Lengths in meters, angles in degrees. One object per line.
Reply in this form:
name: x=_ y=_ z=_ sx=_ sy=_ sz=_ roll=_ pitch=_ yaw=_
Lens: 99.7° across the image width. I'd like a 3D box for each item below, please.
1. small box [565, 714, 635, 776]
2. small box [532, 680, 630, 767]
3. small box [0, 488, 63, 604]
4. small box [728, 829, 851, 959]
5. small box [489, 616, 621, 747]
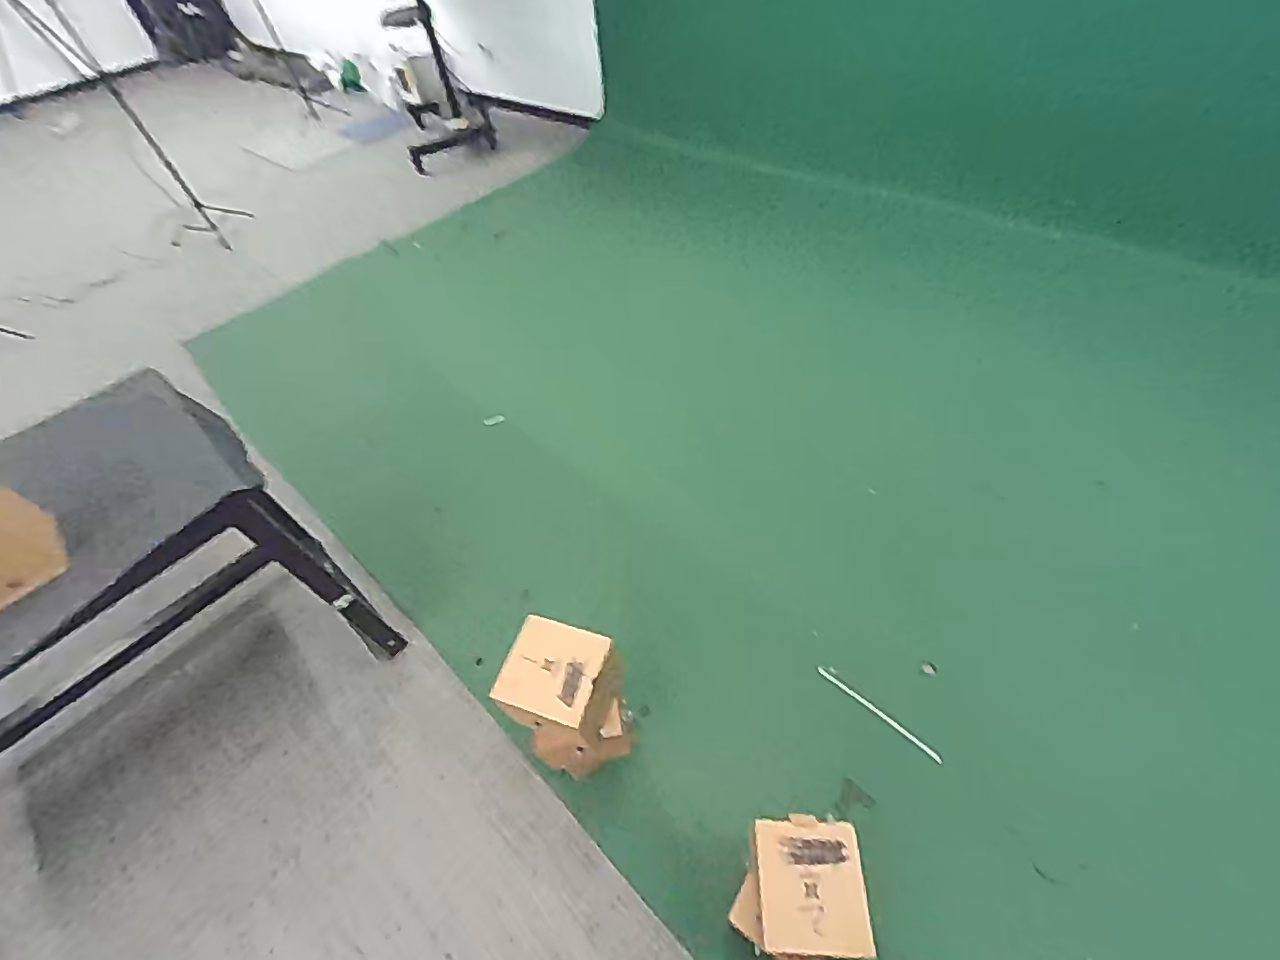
small box: x=-0.129 y=0.575 z=1.291 sx=0.179 sy=0.176 sz=0.168 roll=-27 pitch=54 yaw=-15
small box: x=-0.126 y=0.493 z=1.148 sx=0.179 sy=0.176 sz=0.168 roll=-11 pitch=52 yaw=-2
small box: x=-1.084 y=0.103 z=0.856 sx=0.179 sy=0.176 sz=0.168 roll=33 pitch=62 yaw=31
small box: x=0.278 y=0.819 z=1.041 sx=0.168 sy=0.176 sz=0.179 roll=25 pitch=58 yaw=24
small box: x=-0.149 y=0.386 z=1.025 sx=0.179 sy=0.176 sz=0.168 roll=12 pitch=55 yaw=18
